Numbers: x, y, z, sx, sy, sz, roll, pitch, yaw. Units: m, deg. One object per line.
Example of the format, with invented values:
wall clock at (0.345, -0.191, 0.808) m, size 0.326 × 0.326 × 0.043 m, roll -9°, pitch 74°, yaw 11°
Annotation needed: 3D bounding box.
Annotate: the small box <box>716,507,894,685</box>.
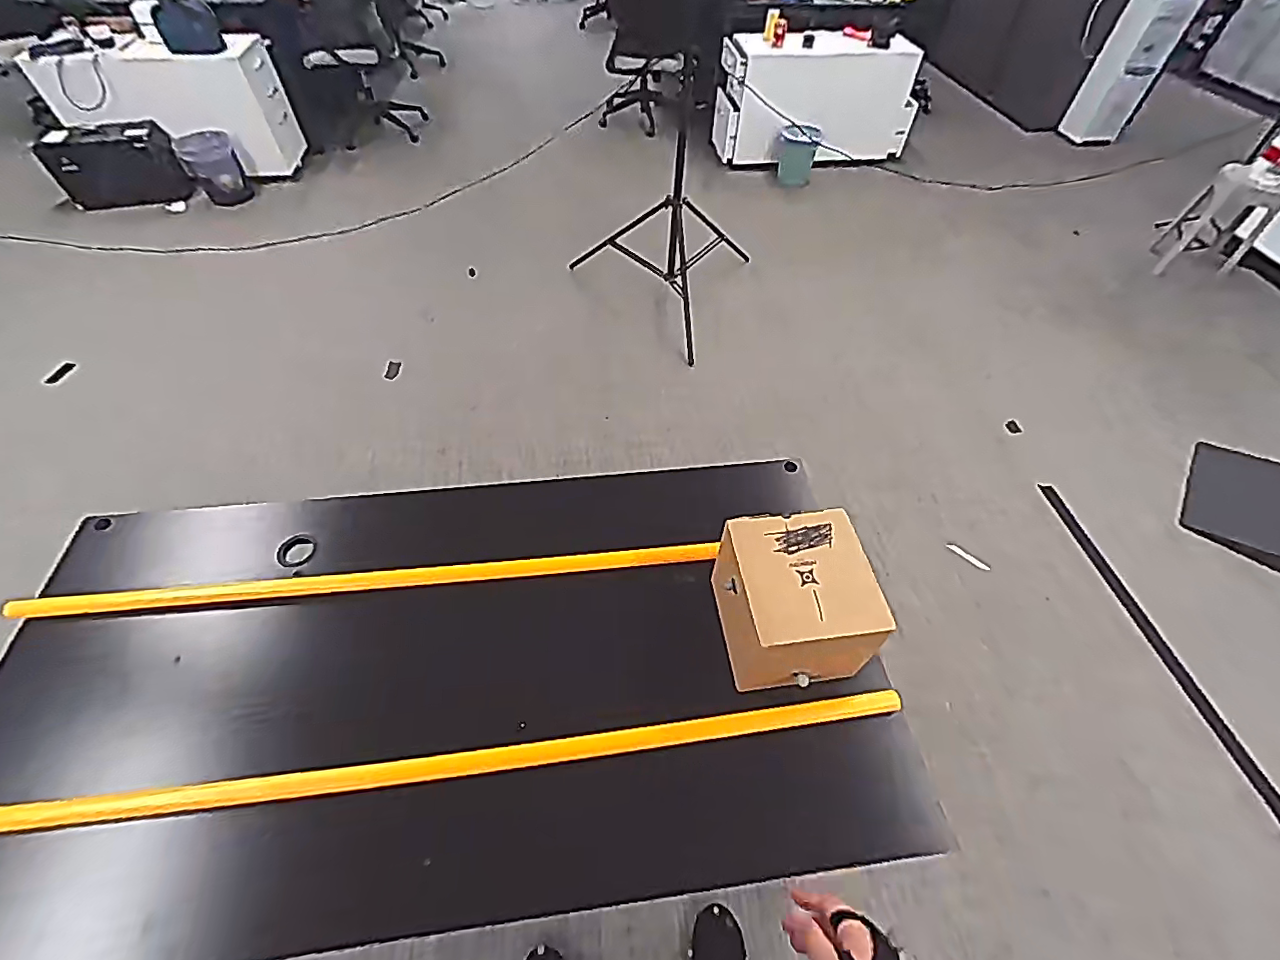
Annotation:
small box at (0.206, 0.159, 0.740) m, size 0.168 × 0.176 × 0.179 m, roll -6°, pitch 53°, yaw -5°
